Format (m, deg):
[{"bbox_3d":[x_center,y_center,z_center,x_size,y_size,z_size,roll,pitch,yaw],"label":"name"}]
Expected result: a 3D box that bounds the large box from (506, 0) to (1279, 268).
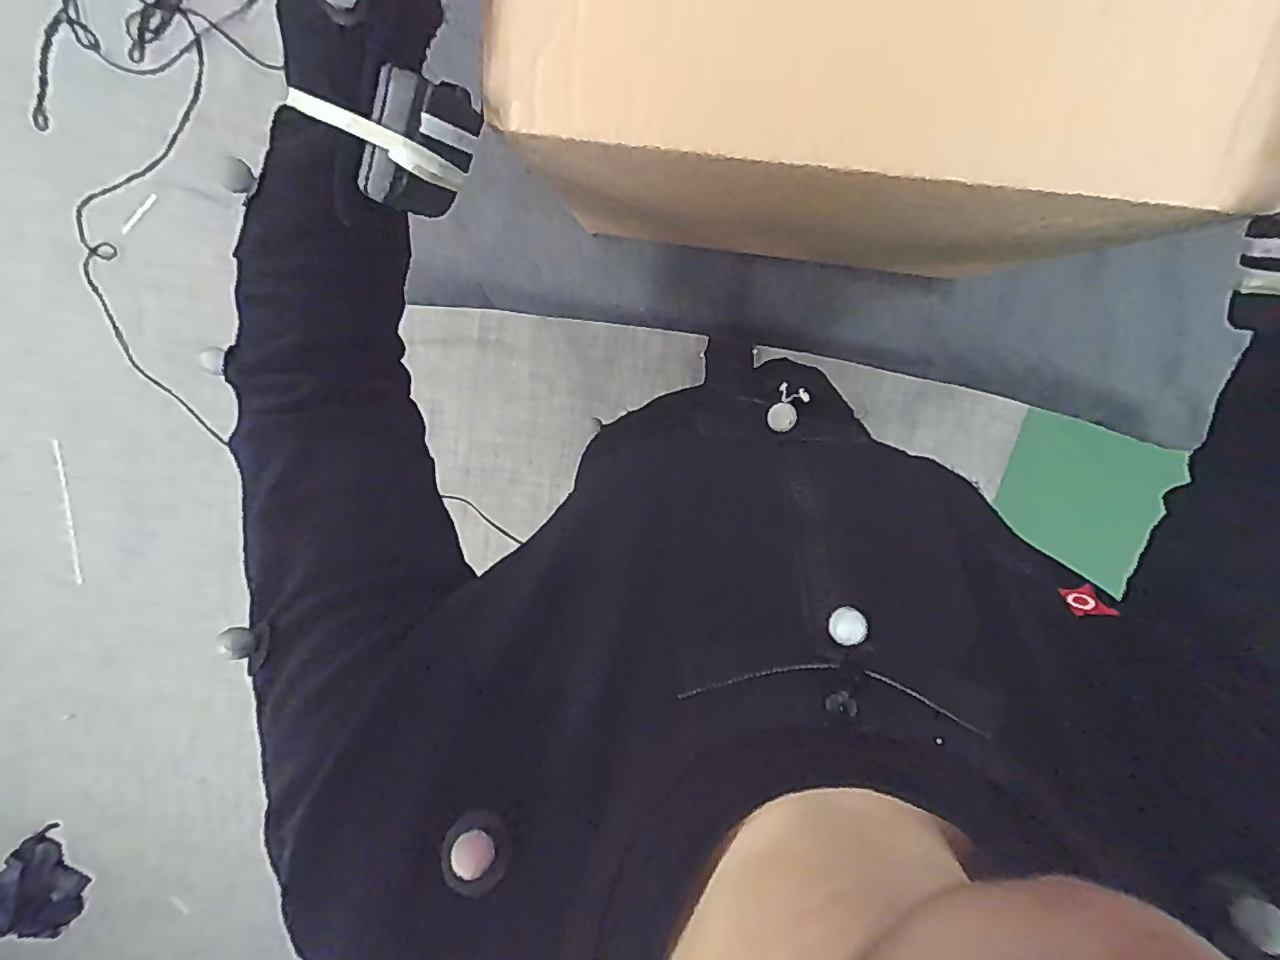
[{"bbox_3d":[0.144,-0.352,0.392,0.408,0.320,0.320,7,106,1],"label":"large box"}]
